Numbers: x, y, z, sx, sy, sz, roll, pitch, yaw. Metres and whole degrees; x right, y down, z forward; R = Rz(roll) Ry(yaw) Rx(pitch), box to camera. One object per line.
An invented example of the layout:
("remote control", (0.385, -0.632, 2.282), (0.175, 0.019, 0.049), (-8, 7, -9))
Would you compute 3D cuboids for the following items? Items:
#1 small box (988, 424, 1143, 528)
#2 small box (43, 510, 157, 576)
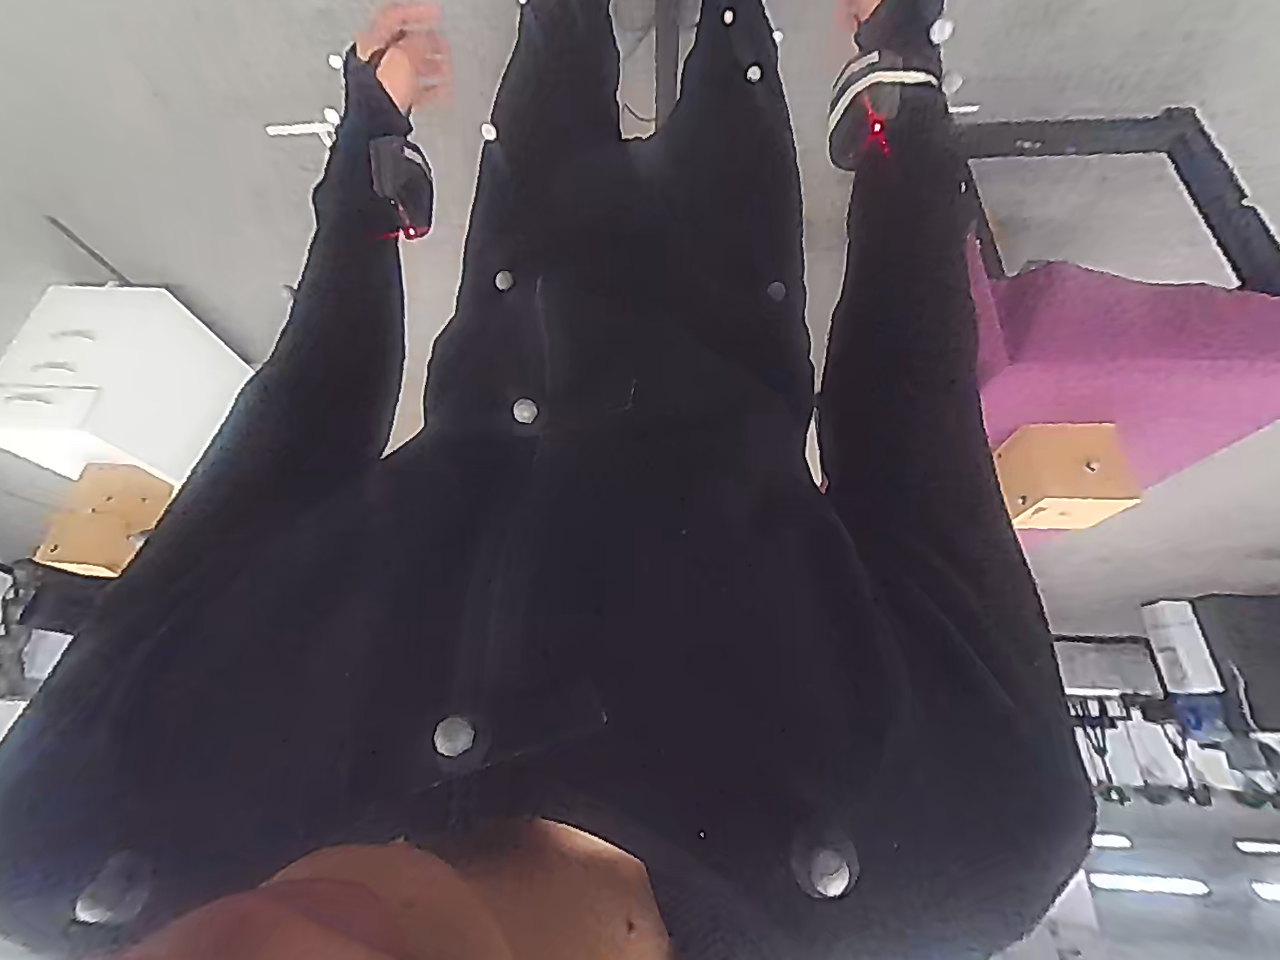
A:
("small box", (0.871, -0.007, 1.128), (0.179, 0.176, 0.168), (0, 154, 5))
("small box", (-1.741, 0.203, 1.757), (0.179, 0.176, 0.168), (3, 156, 0))
